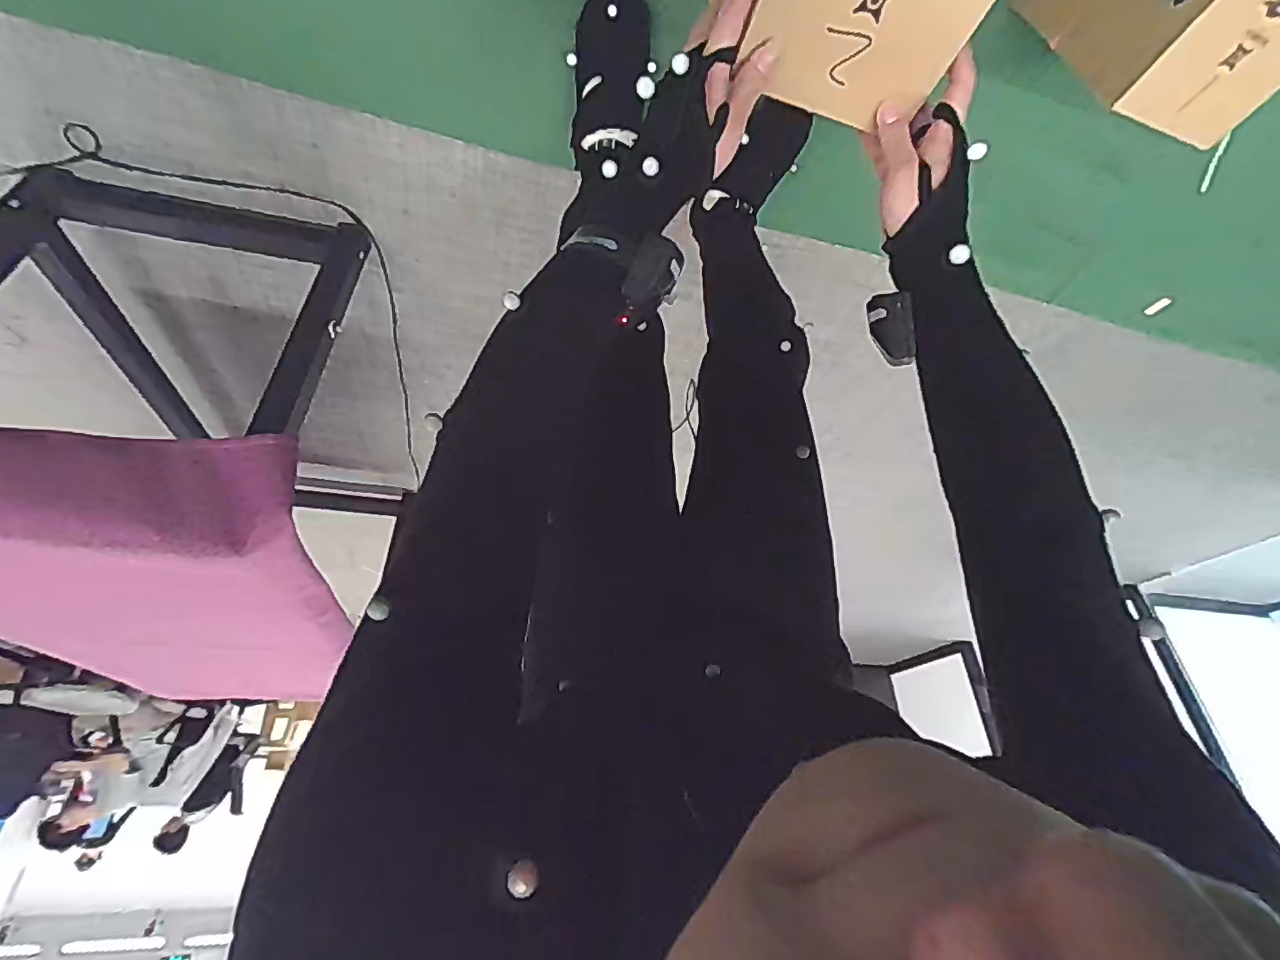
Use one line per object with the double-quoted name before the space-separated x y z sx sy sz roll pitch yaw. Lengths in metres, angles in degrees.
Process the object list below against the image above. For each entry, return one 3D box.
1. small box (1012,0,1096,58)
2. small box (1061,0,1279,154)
"small box" 0.651 -0.673 0.720 0.168 0.176 0.179 9 147 -16
"small box" 0.655 -0.534 0.632 0.168 0.176 0.179 9 147 -16
